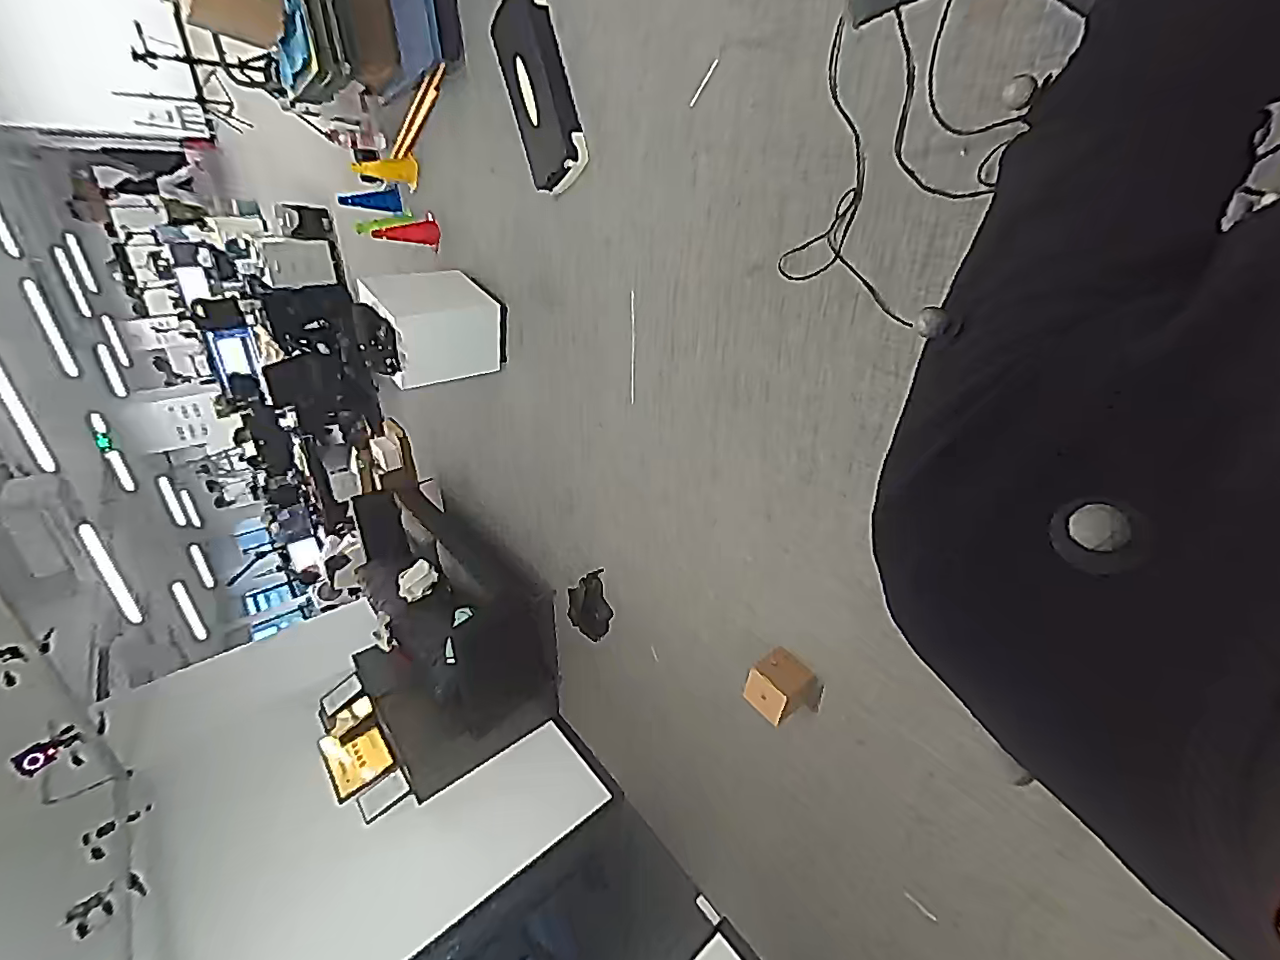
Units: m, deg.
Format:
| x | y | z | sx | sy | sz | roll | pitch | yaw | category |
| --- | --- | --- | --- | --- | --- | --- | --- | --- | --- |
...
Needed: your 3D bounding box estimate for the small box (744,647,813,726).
| x | y | z | sx | sy | sz | roll | pitch | yaw | category |
| --- | --- | --- | --- | --- | --- | --- | --- | --- | --- |
| 0.511 | 0.754 | 1.990 | 0.168 | 0.176 | 0.179 | 36 | 134 | 40 | small box |
